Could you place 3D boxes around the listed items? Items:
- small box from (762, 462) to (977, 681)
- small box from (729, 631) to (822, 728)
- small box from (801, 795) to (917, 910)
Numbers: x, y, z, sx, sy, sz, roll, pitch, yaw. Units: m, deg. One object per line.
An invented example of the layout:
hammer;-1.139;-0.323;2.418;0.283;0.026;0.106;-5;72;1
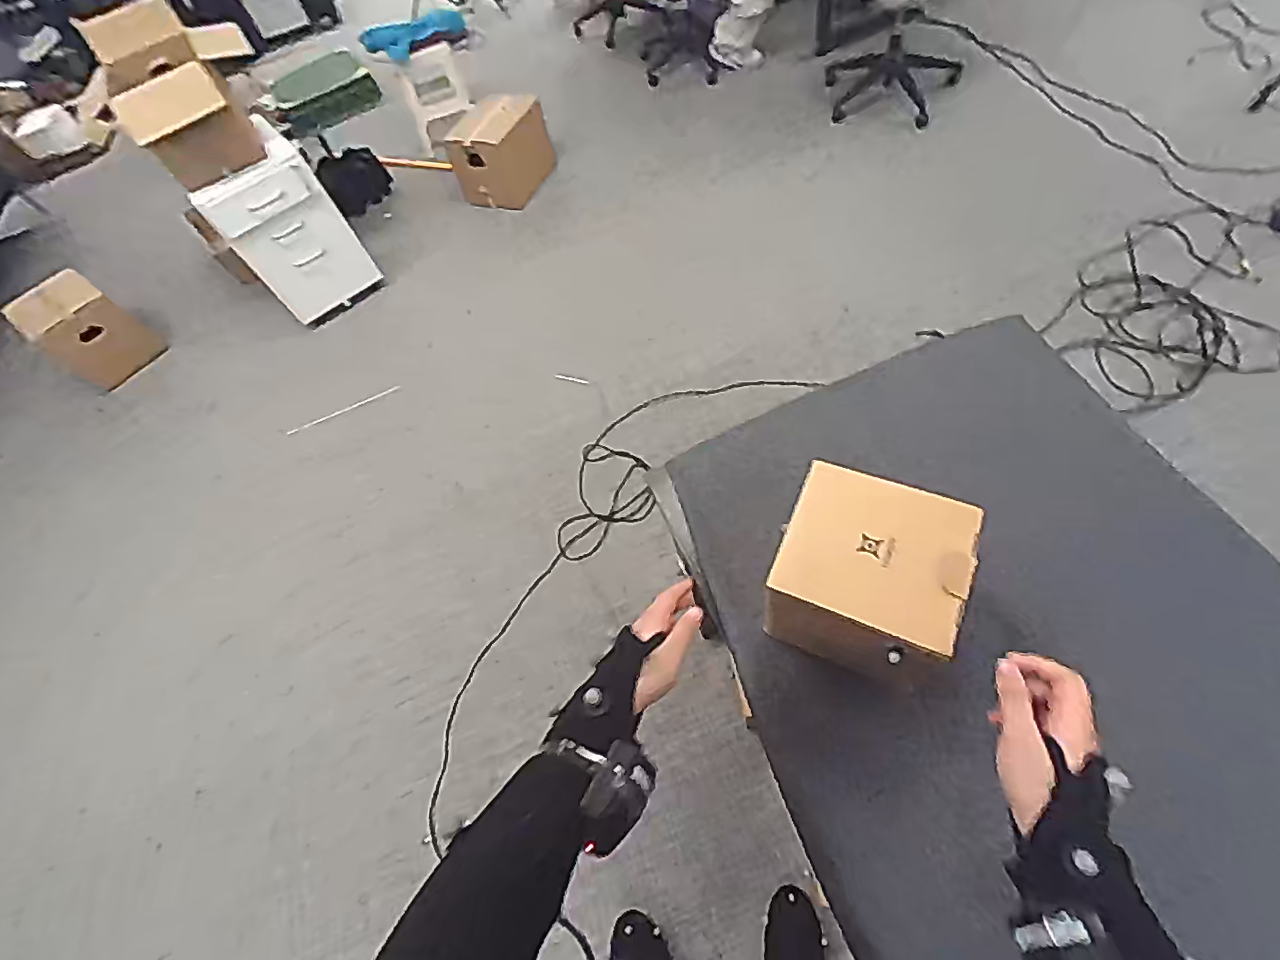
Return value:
small box;0.249;0.109;0.620;0.179;0.176;0.168;18;64;21
small box;0.308;0.461;1.260;0.168;0.176;0.179;-13;57;3
small box;0.419;0.728;1.067;0.168;0.176;0.179;-6;56;7
